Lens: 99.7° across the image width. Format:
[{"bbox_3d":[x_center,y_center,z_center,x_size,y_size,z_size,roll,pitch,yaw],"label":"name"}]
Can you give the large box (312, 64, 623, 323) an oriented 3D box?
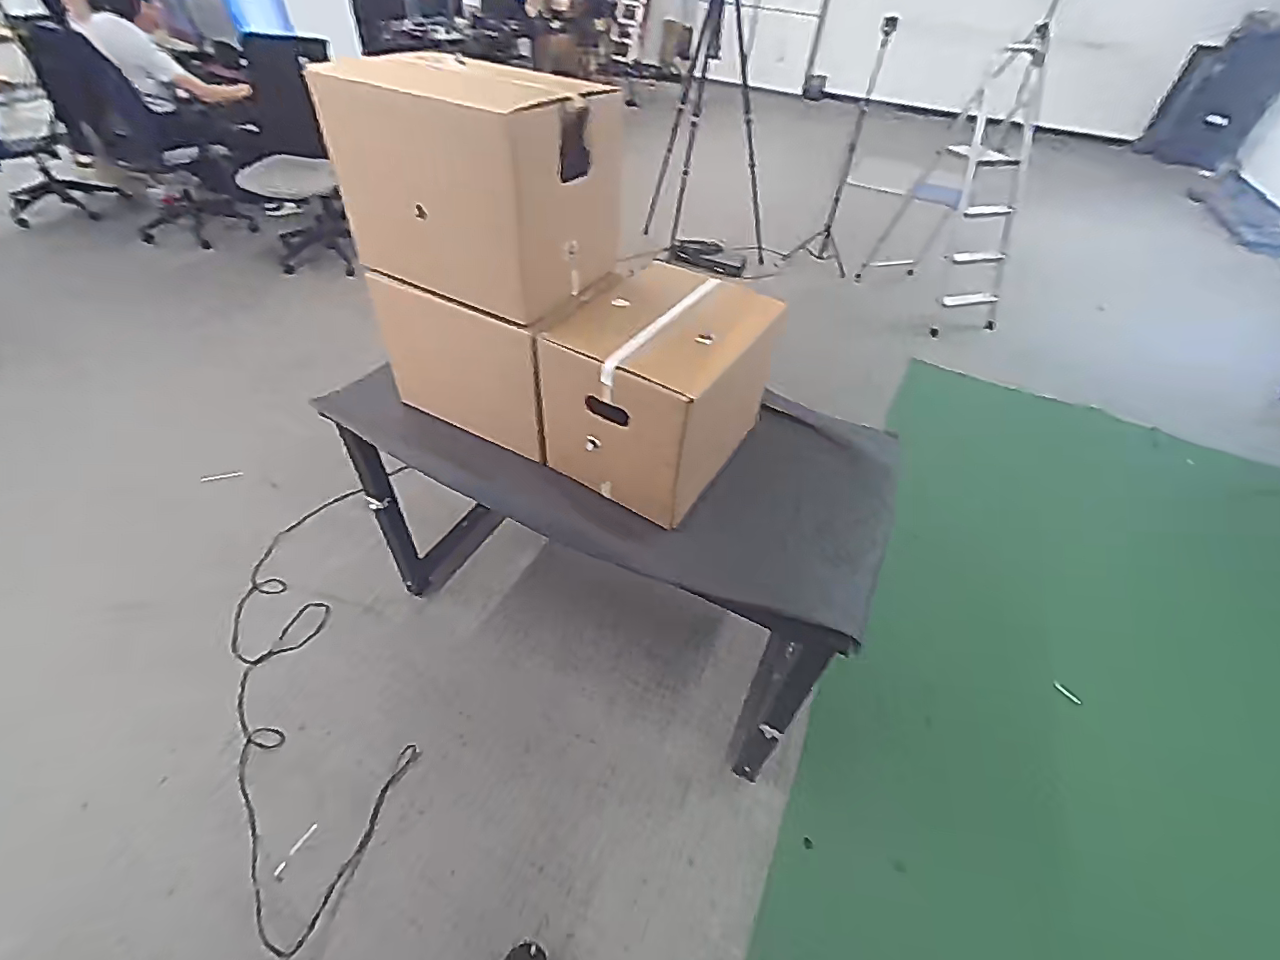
[{"bbox_3d":[-0.277,-0.530,0.985,0.408,0.320,0.320,23,46,19],"label":"large box"}]
